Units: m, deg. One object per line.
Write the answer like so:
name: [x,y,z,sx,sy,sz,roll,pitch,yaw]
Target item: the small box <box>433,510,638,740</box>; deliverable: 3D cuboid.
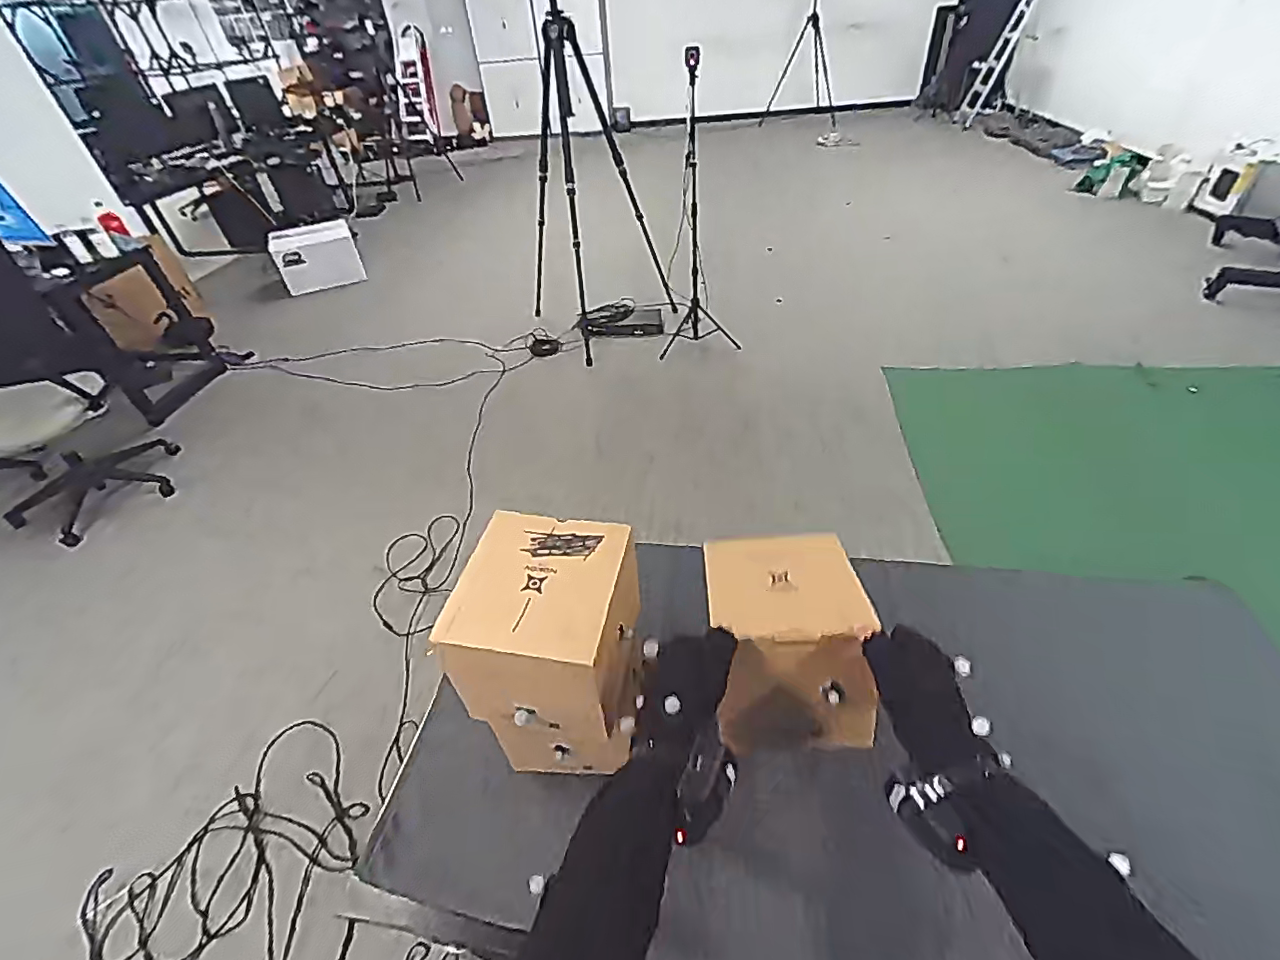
small box: [-0.098,0.160,0.609,0.168,0.176,0.179,5,43,11]
